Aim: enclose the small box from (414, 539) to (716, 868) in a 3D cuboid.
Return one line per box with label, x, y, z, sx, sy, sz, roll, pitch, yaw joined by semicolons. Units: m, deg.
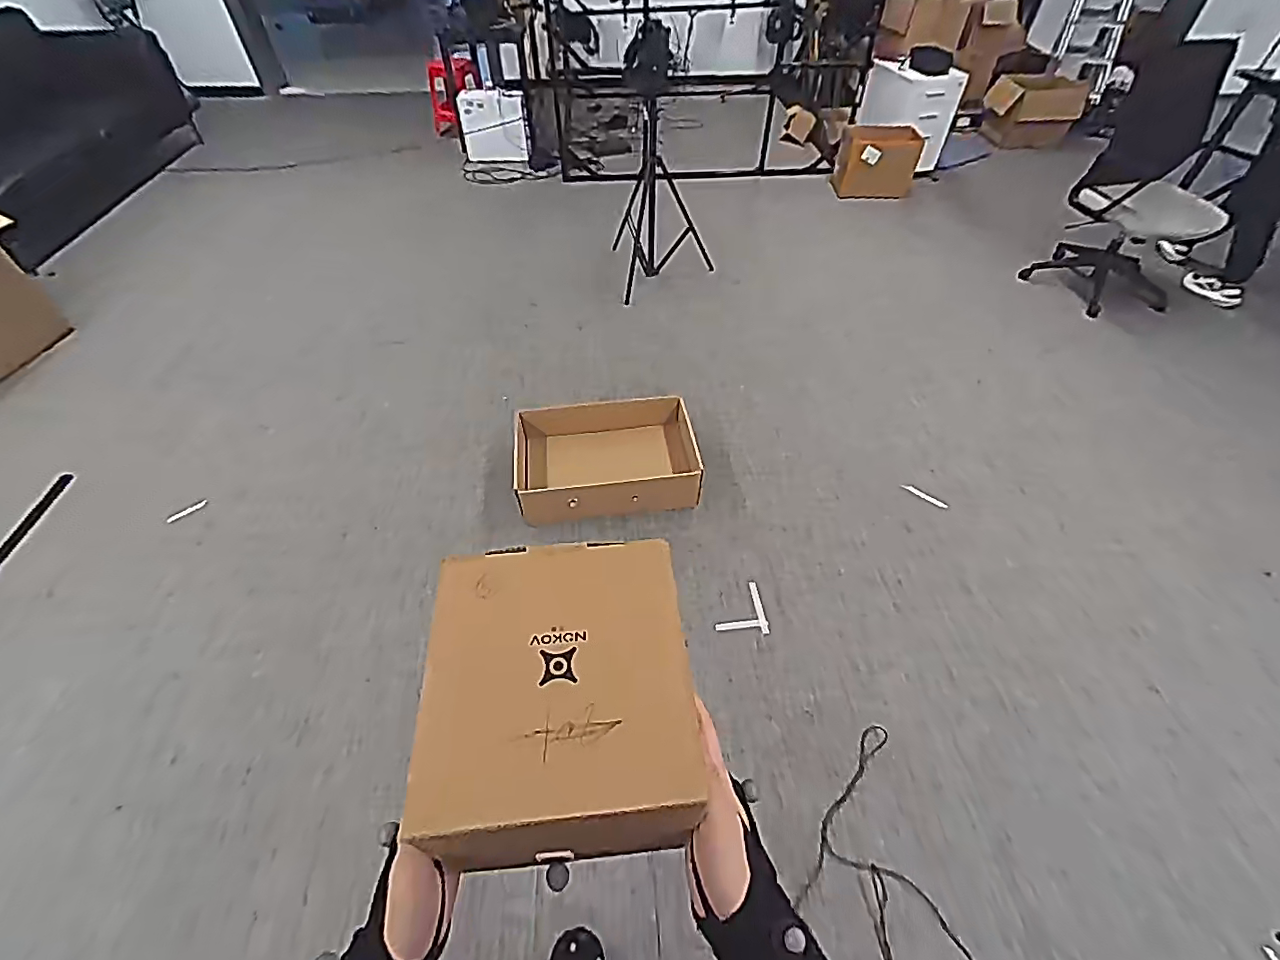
small box;-0.050;0.167;0.405;0.168;0.176;0.179;-5;50;-5
